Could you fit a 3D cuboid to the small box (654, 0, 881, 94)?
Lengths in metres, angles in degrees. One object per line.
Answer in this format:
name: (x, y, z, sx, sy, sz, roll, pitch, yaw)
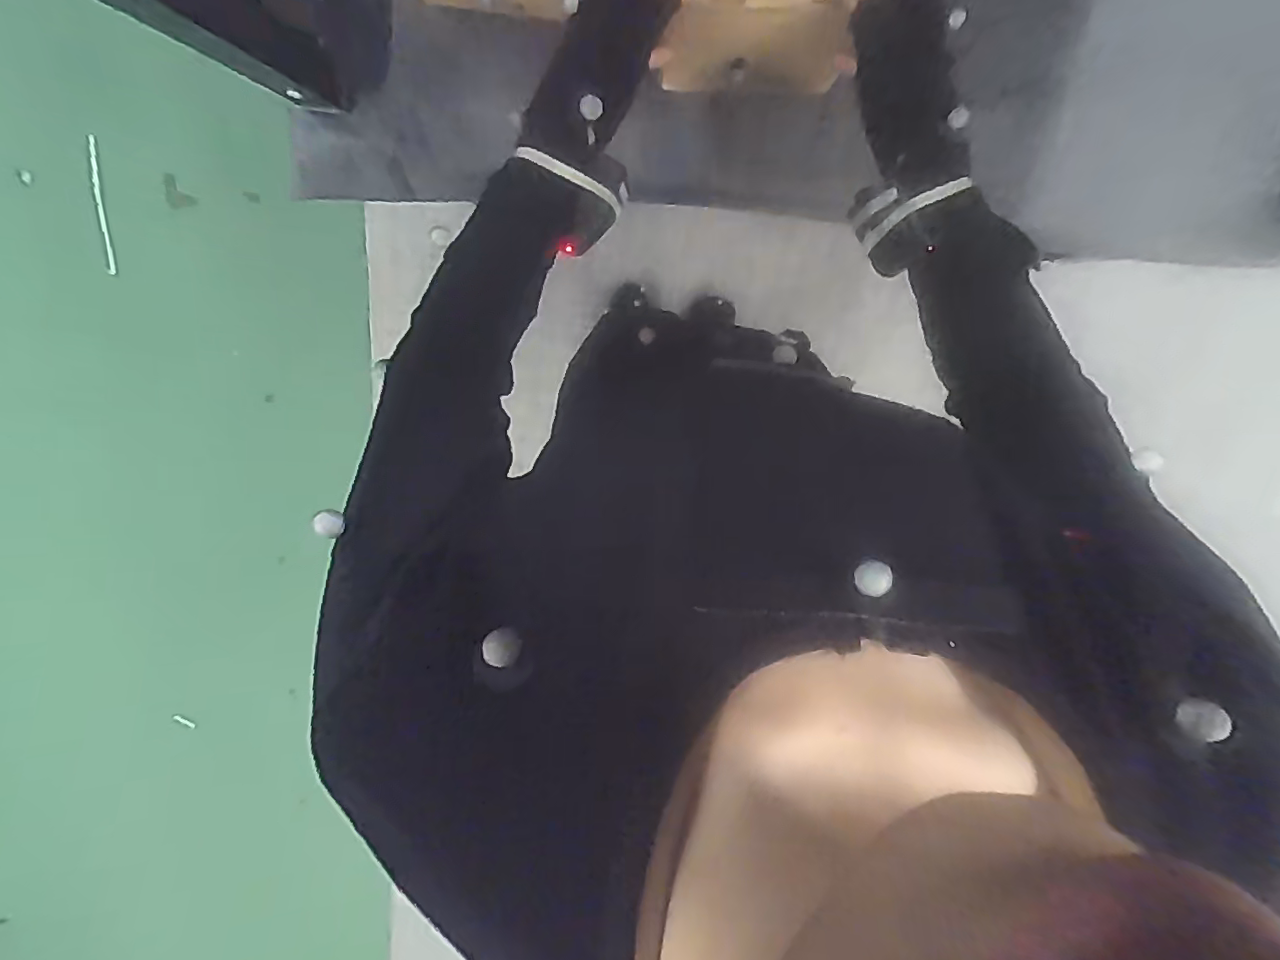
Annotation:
small box: (0.097, -0.448, 0.438, 0.168, 0.176, 0.179, 2, 108, 2)
